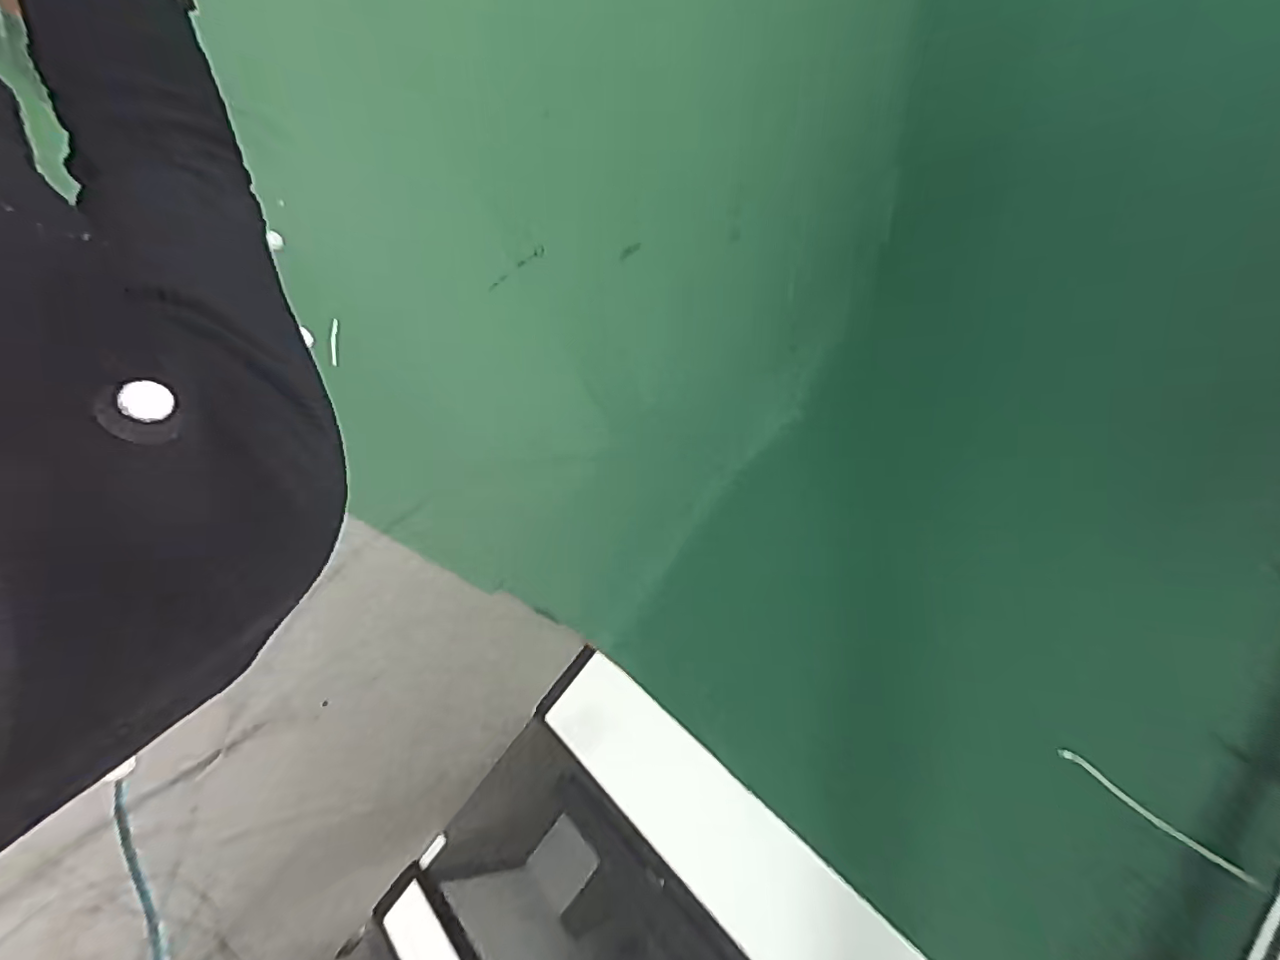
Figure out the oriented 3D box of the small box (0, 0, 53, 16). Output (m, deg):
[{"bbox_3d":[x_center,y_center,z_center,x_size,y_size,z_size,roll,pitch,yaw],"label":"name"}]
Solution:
[{"bbox_3d":[-0.887,-0.791,0.756,0.179,0.176,0.168,-46,145,-13],"label":"small box"}]
